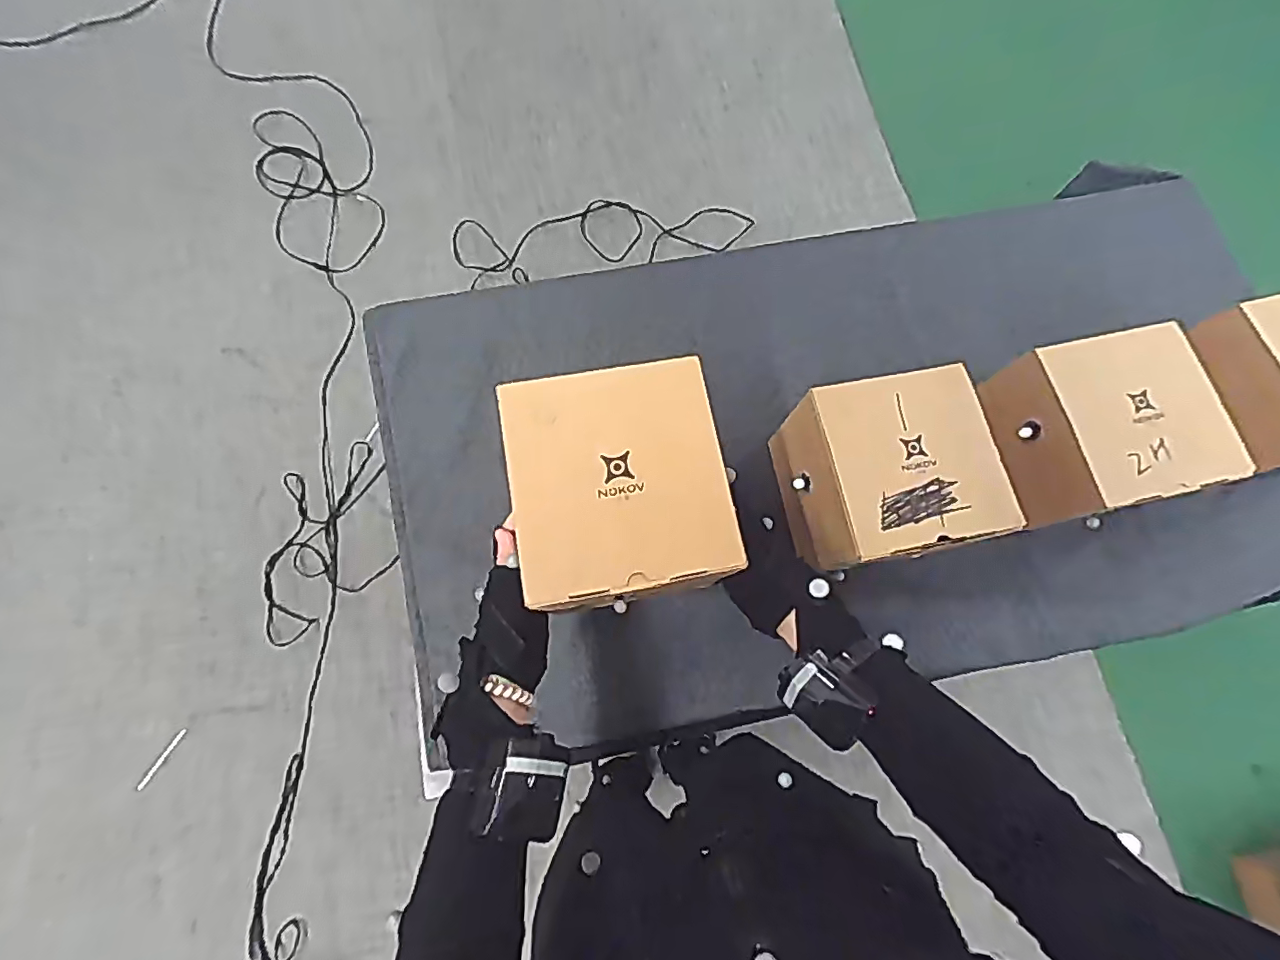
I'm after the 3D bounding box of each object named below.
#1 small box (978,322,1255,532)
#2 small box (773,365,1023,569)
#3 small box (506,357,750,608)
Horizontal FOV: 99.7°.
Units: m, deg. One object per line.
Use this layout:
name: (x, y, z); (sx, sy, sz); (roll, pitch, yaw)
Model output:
small box: (0.500, -0.049, 0.618); (0.168, 0.176, 0.179); (-12, 76, -5)
small box: (0.263, -0.002, 0.598); (0.168, 0.176, 0.179); (-10, 75, -5)
small box: (-0.019, 0.014, 0.489); (0.168, 0.176, 0.179); (-10, 77, -6)
